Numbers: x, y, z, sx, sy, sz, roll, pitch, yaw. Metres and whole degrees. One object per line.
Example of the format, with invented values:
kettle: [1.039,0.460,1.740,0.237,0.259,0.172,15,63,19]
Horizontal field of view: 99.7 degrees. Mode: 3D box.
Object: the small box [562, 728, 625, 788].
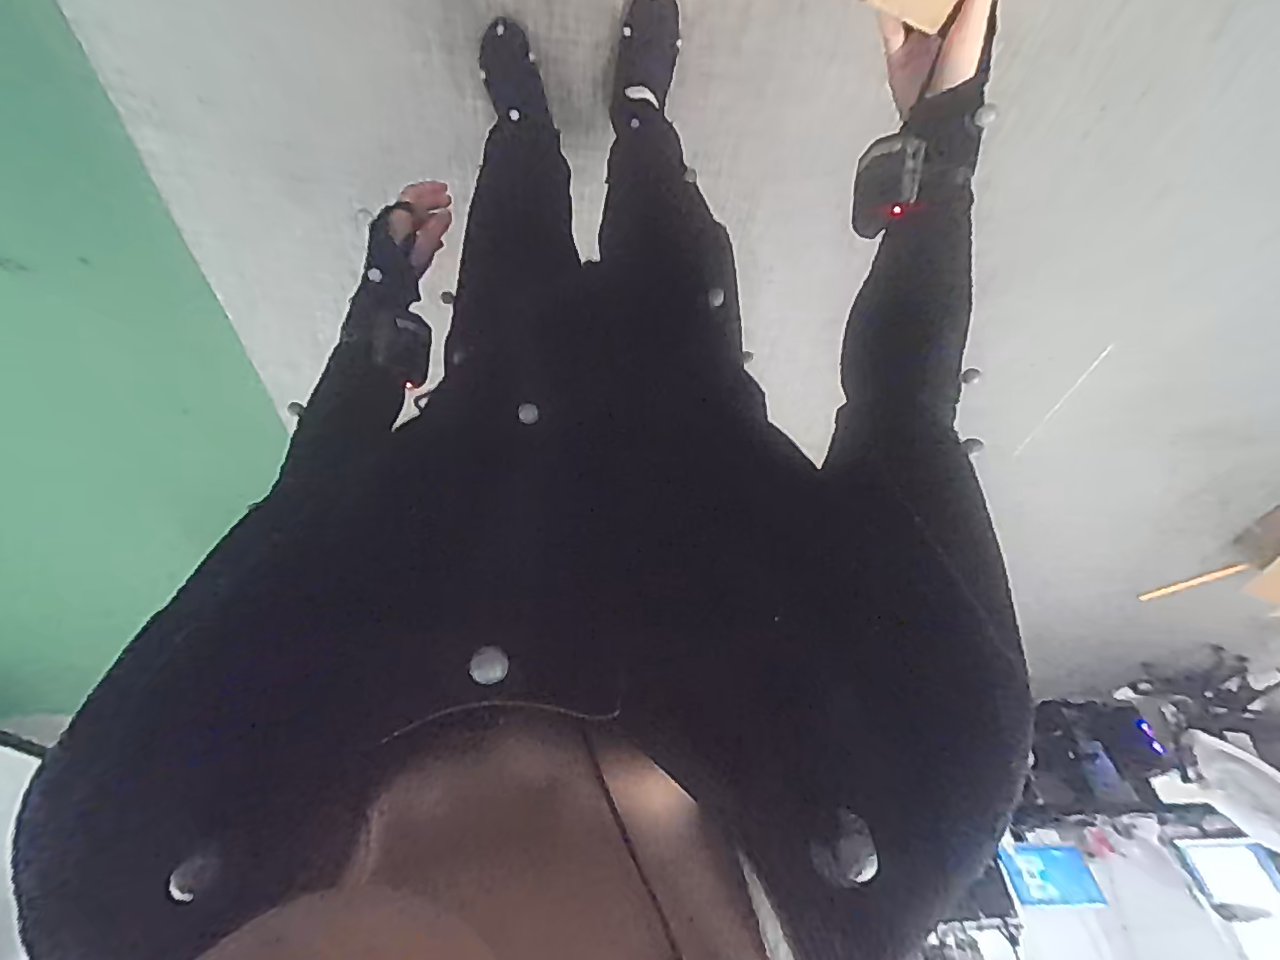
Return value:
small box: [-0.162,0.980,1.892,0.179,0.176,0.168,-12,138,11]
